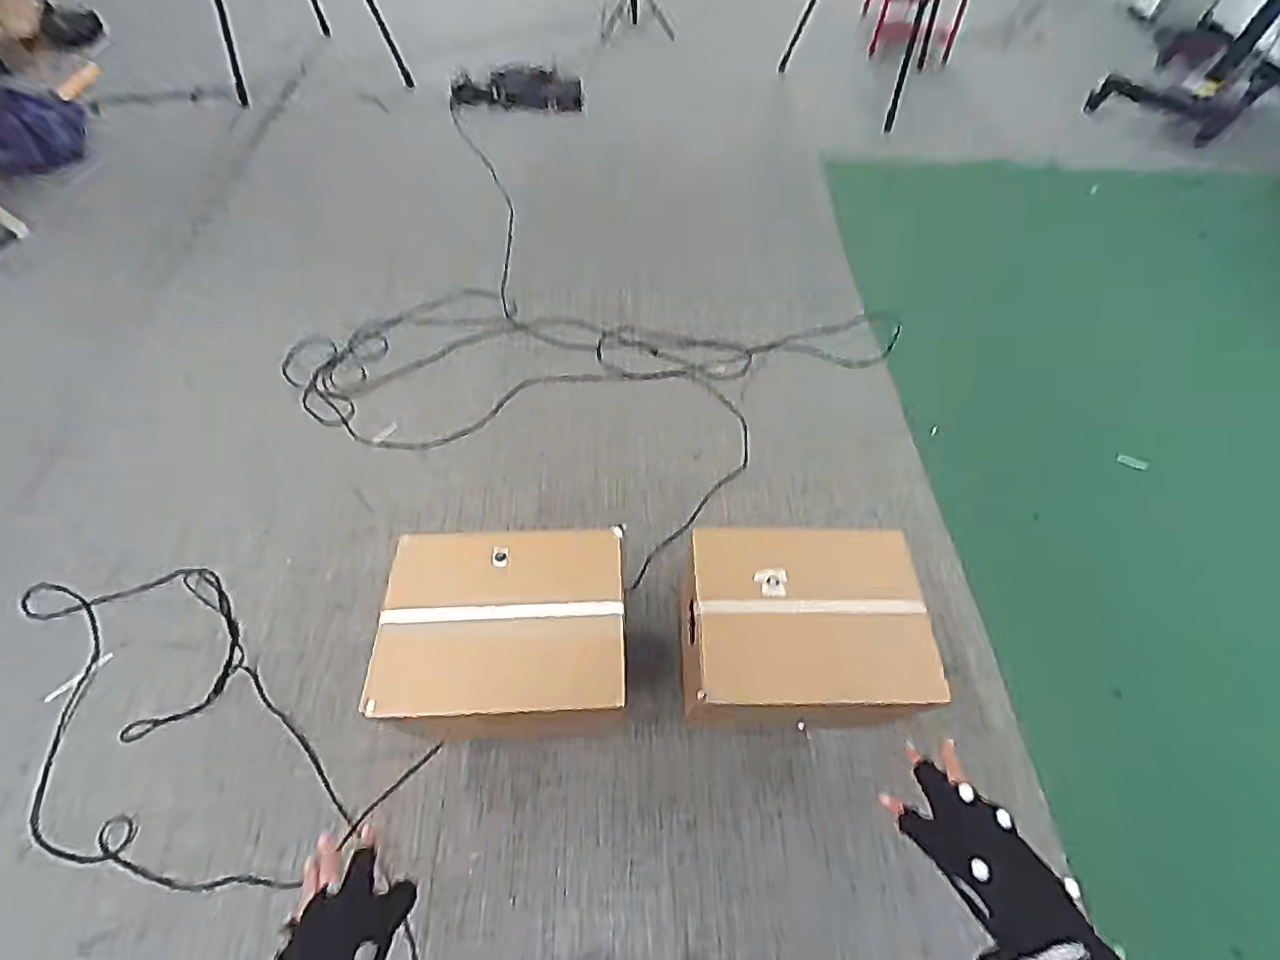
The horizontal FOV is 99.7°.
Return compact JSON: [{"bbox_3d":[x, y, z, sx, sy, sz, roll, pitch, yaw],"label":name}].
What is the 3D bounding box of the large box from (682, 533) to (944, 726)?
[{"bbox_3d":[0.303,0.311,1.089,0.408,0.320,0.320,1,58,-1],"label":"large box"}]
